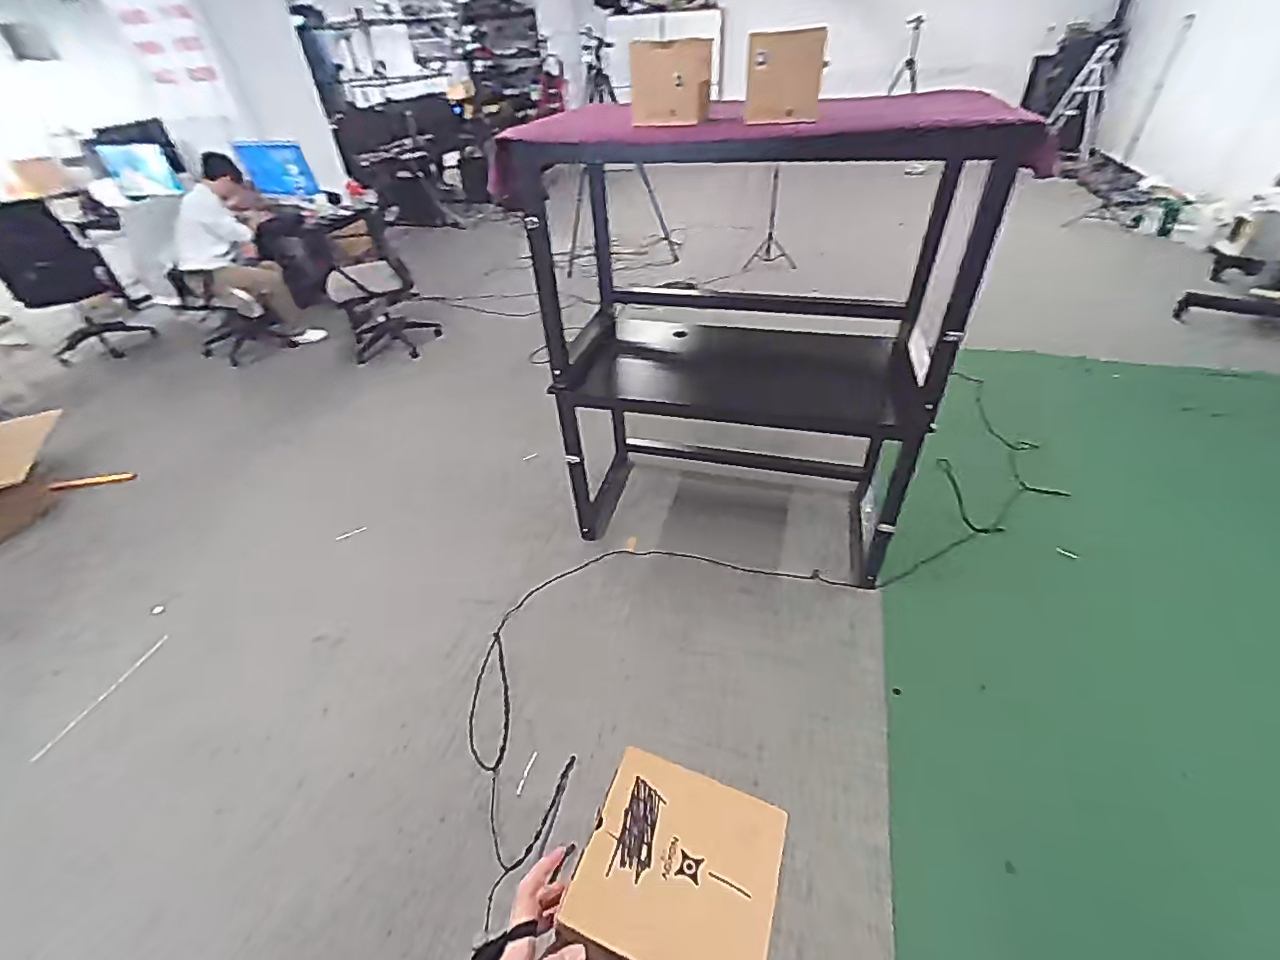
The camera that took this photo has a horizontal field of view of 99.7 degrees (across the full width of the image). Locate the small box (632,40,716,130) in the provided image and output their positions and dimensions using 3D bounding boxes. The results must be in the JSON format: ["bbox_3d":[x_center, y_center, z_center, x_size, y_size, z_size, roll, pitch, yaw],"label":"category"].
[{"bbox_3d":[0.088,-0.967,1.329,0.168,0.176,0.179,10,40,15],"label":"small box"}]

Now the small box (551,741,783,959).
[{"bbox_3d":[0.026,0.405,0.537,0.179,0.176,0.168,16,37,14],"label":"small box"}]
